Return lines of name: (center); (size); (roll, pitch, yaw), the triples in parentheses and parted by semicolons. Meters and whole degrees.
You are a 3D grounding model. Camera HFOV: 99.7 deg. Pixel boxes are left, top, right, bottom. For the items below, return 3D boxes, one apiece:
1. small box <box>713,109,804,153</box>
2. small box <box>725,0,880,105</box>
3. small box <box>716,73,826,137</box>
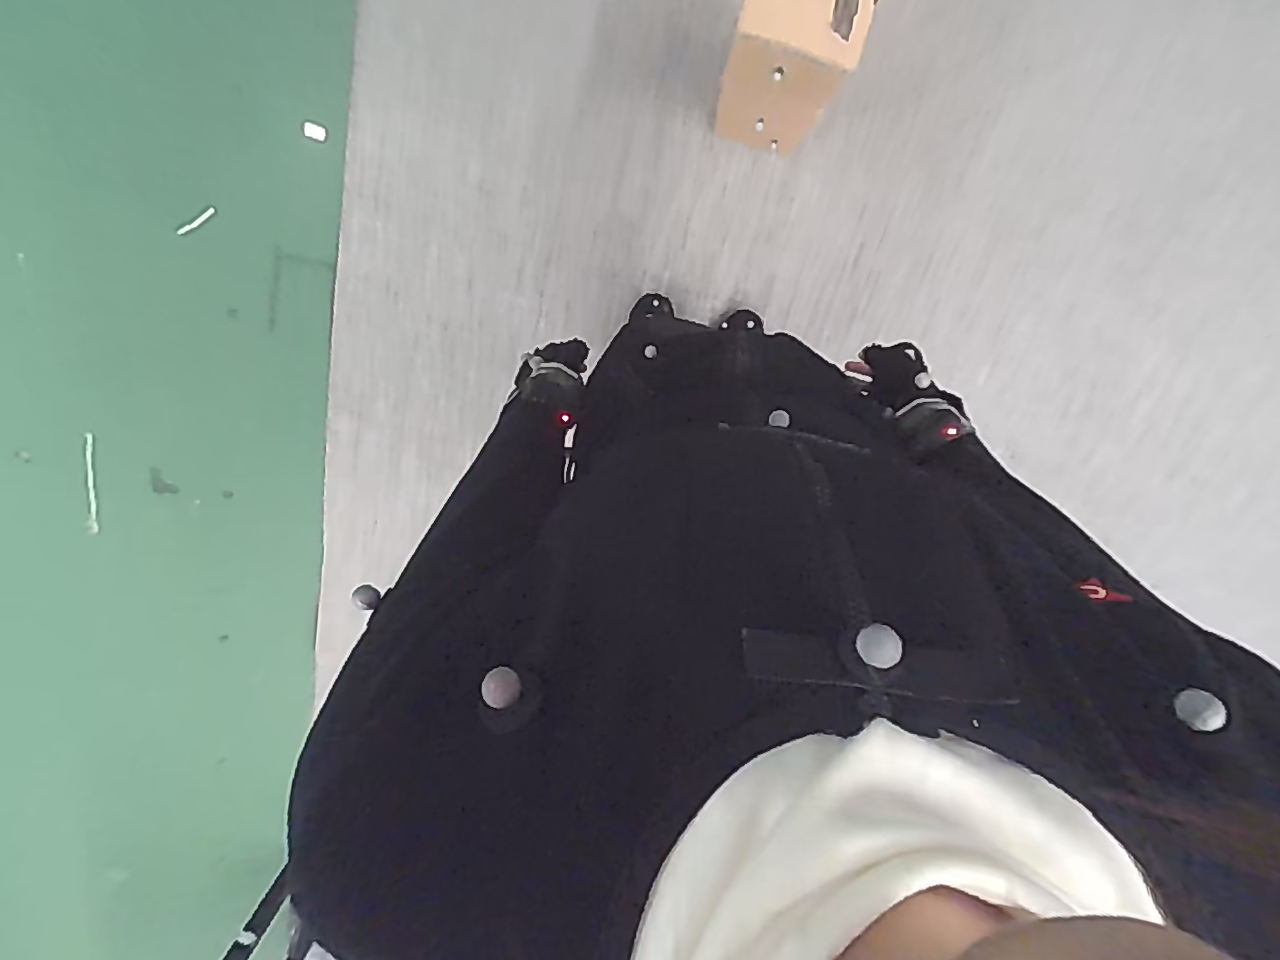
small box: (0.258, -0.792, 1.104); (0.179, 0.176, 0.168); (15, 108, -1)
small box: (0.238, -0.684, 0.795); (0.179, 0.176, 0.168); (14, 109, -3)
small box: (0.248, -0.734, 0.951); (0.179, 0.176, 0.168); (19, 109, -4)
